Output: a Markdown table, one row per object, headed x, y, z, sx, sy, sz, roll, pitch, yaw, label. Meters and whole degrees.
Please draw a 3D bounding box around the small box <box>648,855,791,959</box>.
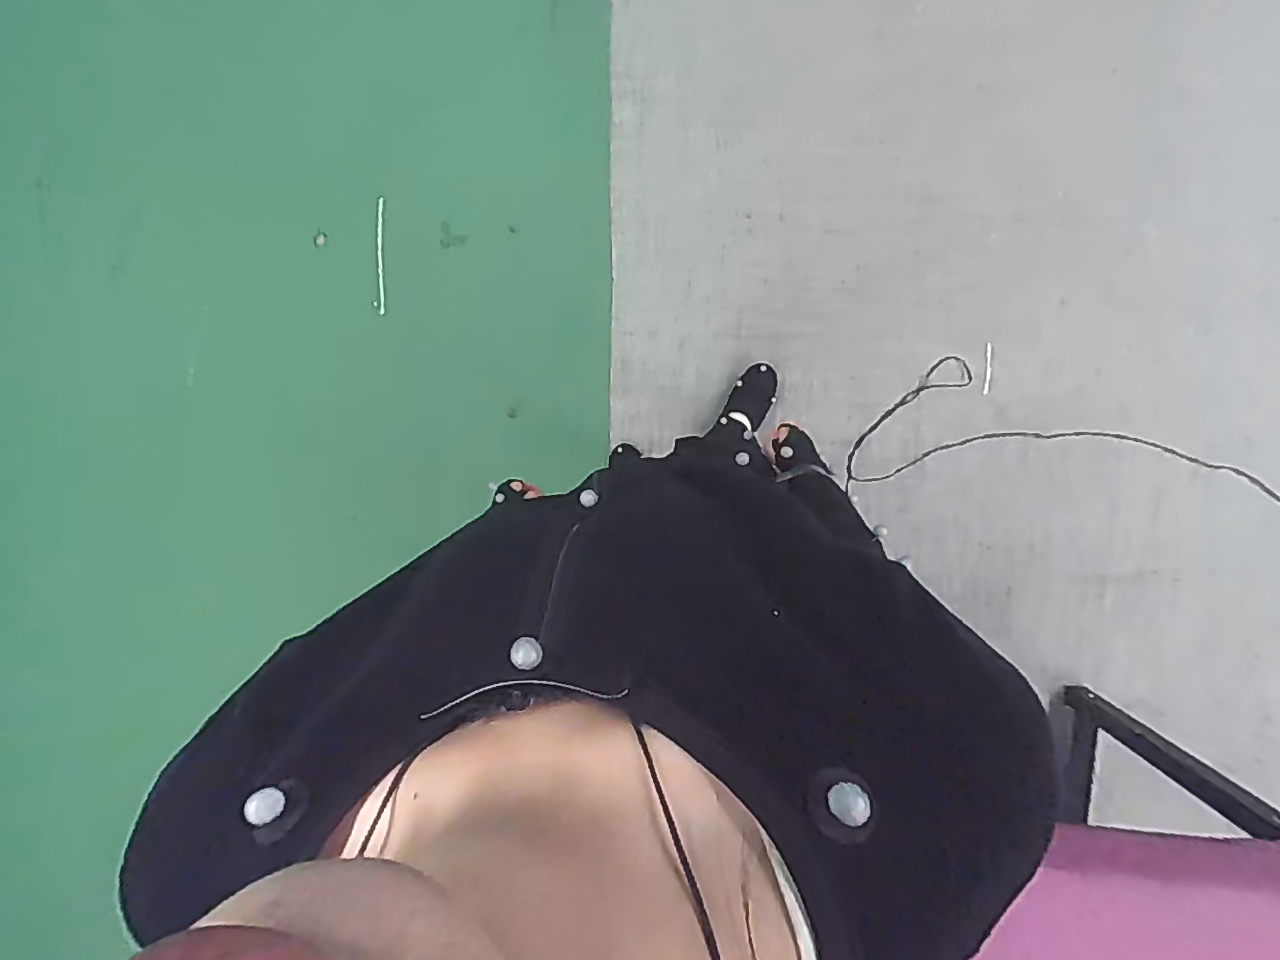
| x | y | z | sx | sy | sz | roll | pitch | yaw | label |
| --- | --- | --- | --- | --- | --- | --- | --- | --- | --- |
| 0.106 | 0.654 | 0.744 | 0.179 | 0.176 | 0.168 | -2 | 95 | 5 | small box |
